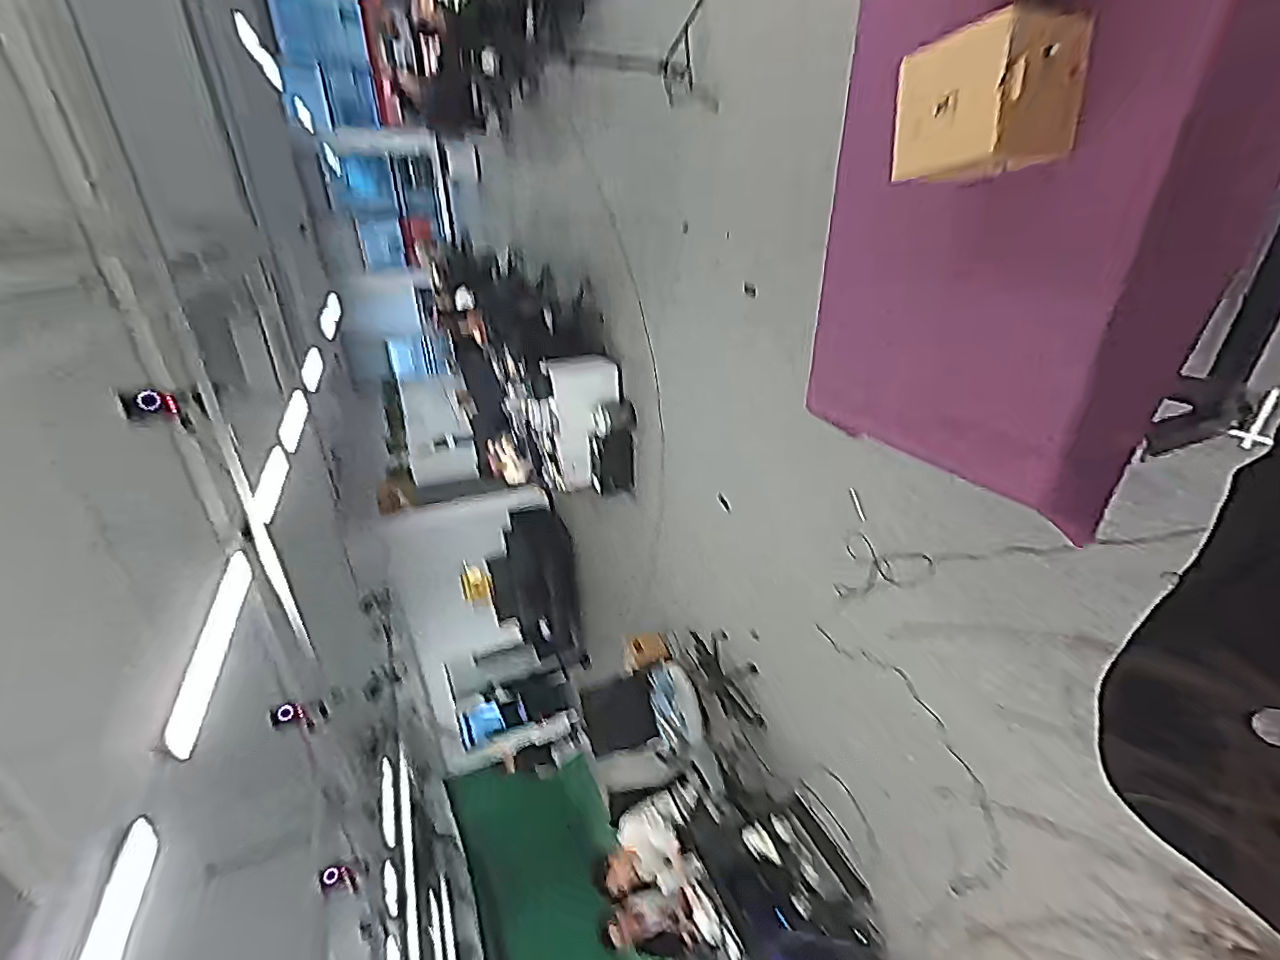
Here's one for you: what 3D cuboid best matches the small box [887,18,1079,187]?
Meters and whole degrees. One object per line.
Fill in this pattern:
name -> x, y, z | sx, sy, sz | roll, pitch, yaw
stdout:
small box -> 0.506, -0.548, 0.809 | 0.179, 0.176, 0.168 | -146, 48, -61
